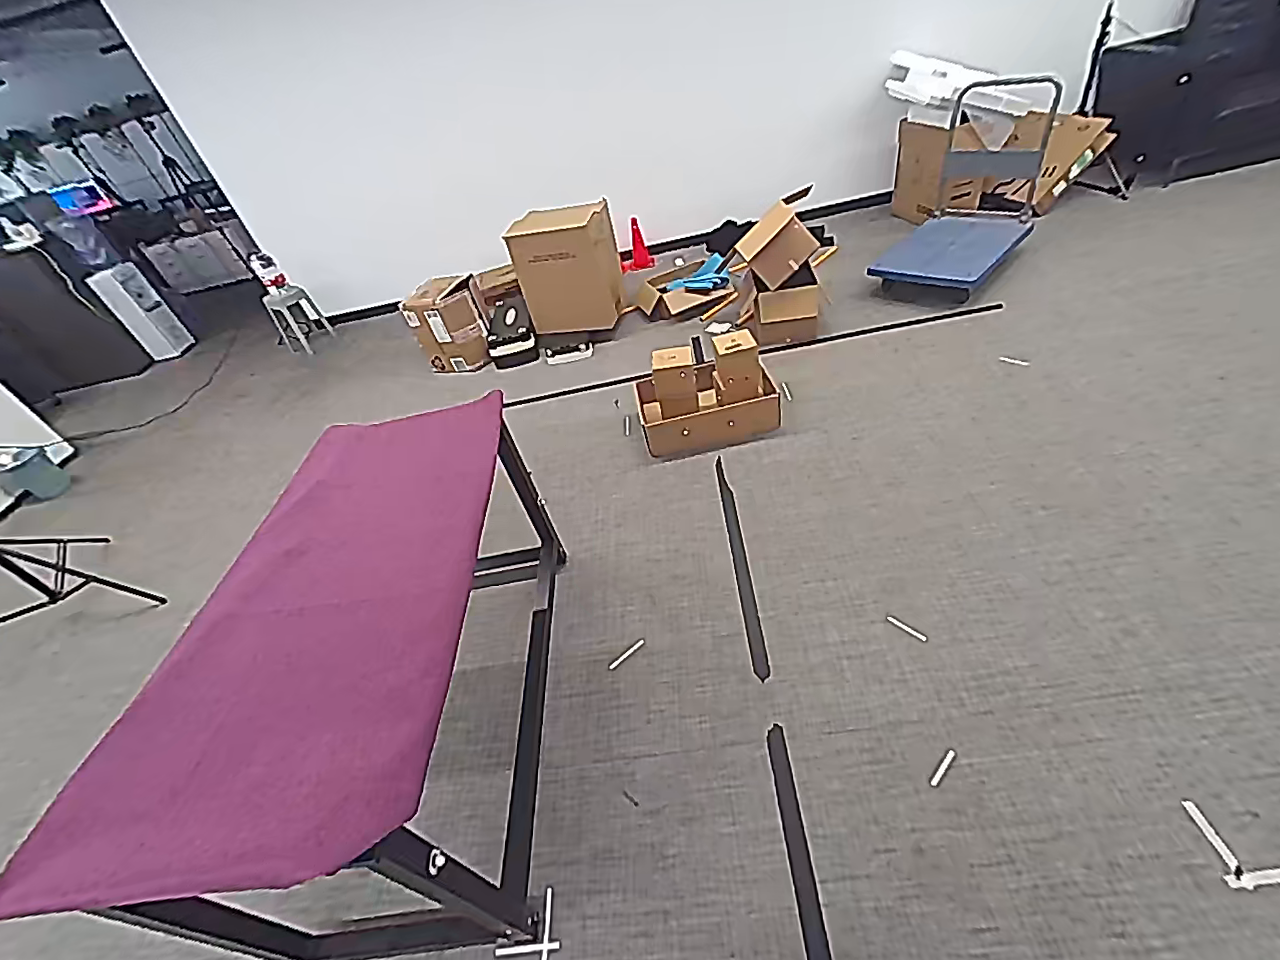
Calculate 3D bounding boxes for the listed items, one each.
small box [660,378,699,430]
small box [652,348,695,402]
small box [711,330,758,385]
[{"bbox_3d":[0.184,-0.356,2.527,0.168,0.176,0.179,-5,41,10],"label":"small box"},{"bbox_3d":[0.151,-0.467,2.408,0.179,0.176,0.168,-7,40,8],"label":"small box"},{"bbox_3d":[0.422,-0.537,2.400,0.168,0.176,0.179,-13,39,3],"label":"small box"}]
